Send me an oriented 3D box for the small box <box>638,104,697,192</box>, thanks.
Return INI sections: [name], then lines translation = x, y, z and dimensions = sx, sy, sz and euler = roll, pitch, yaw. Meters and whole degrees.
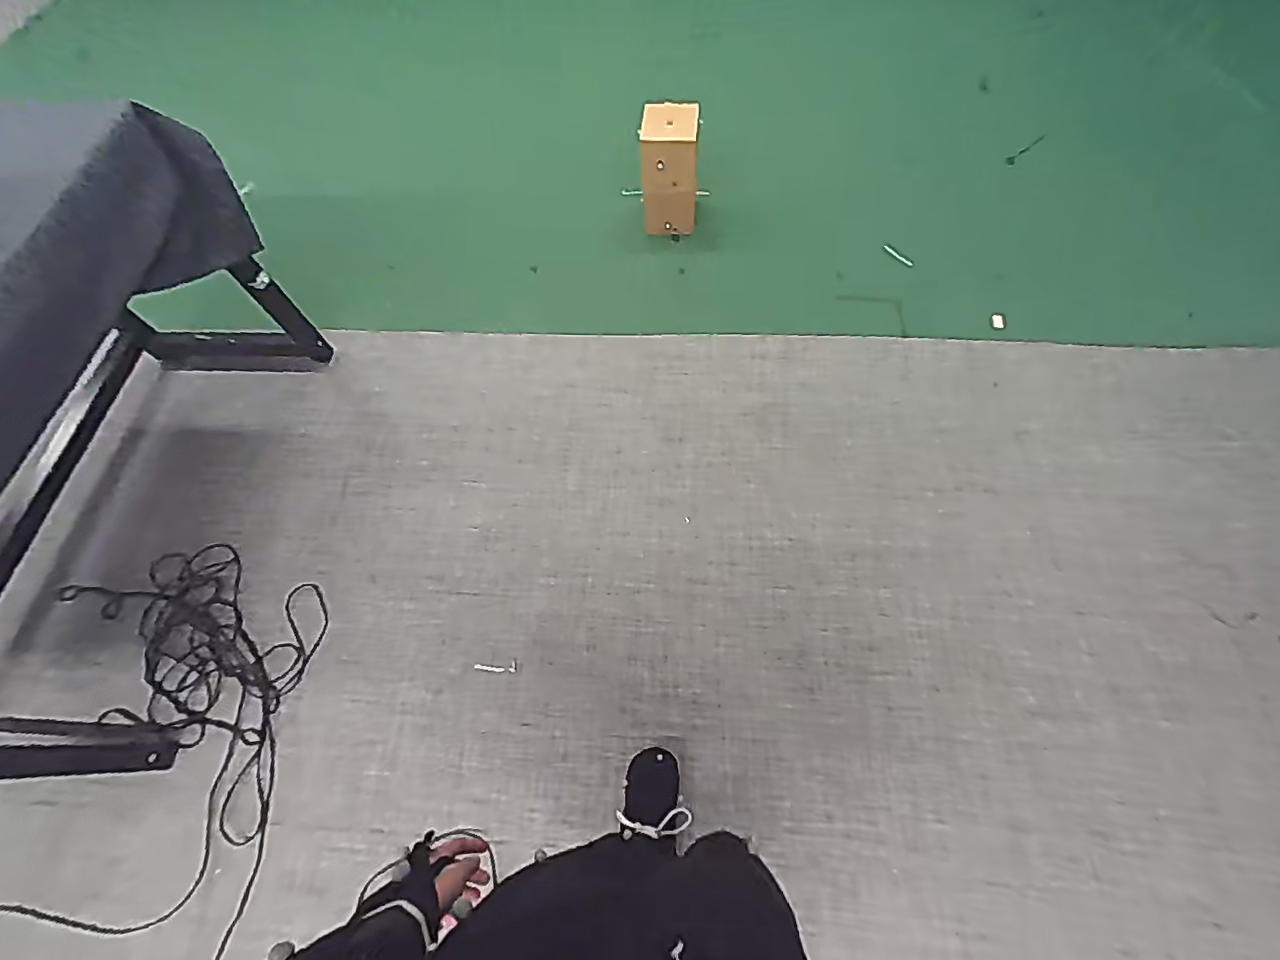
[small box]
translation = 0.089, -1.012, 1.657
dimensions = 0.168, 0.176, 0.179
euler = 3, 64, 6
